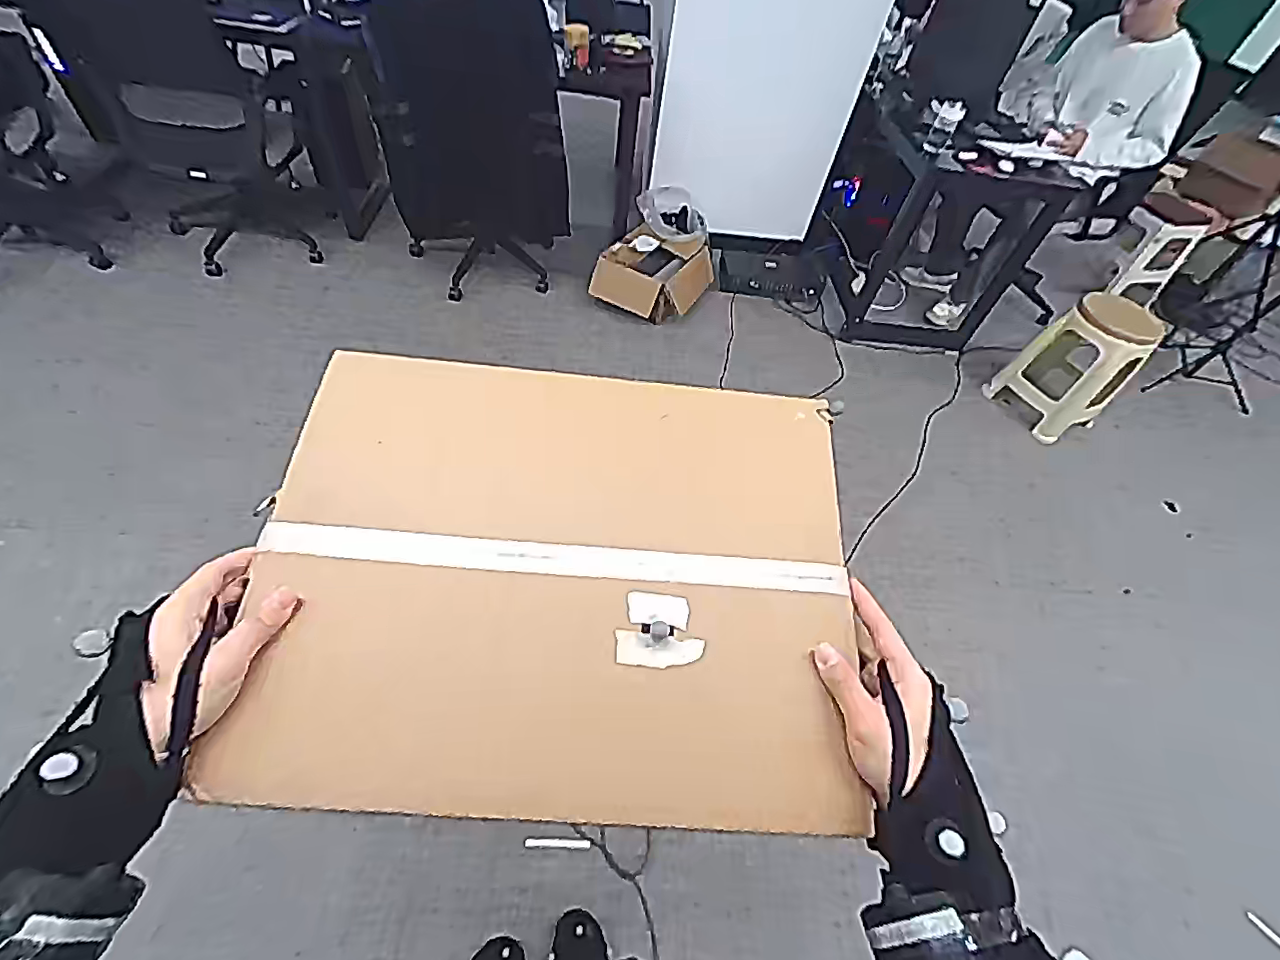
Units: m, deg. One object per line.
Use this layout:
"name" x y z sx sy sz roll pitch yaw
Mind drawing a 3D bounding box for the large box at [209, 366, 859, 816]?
"large box" -0.066 0.121 0.525 0.408 0.320 0.320 6 65 -4
